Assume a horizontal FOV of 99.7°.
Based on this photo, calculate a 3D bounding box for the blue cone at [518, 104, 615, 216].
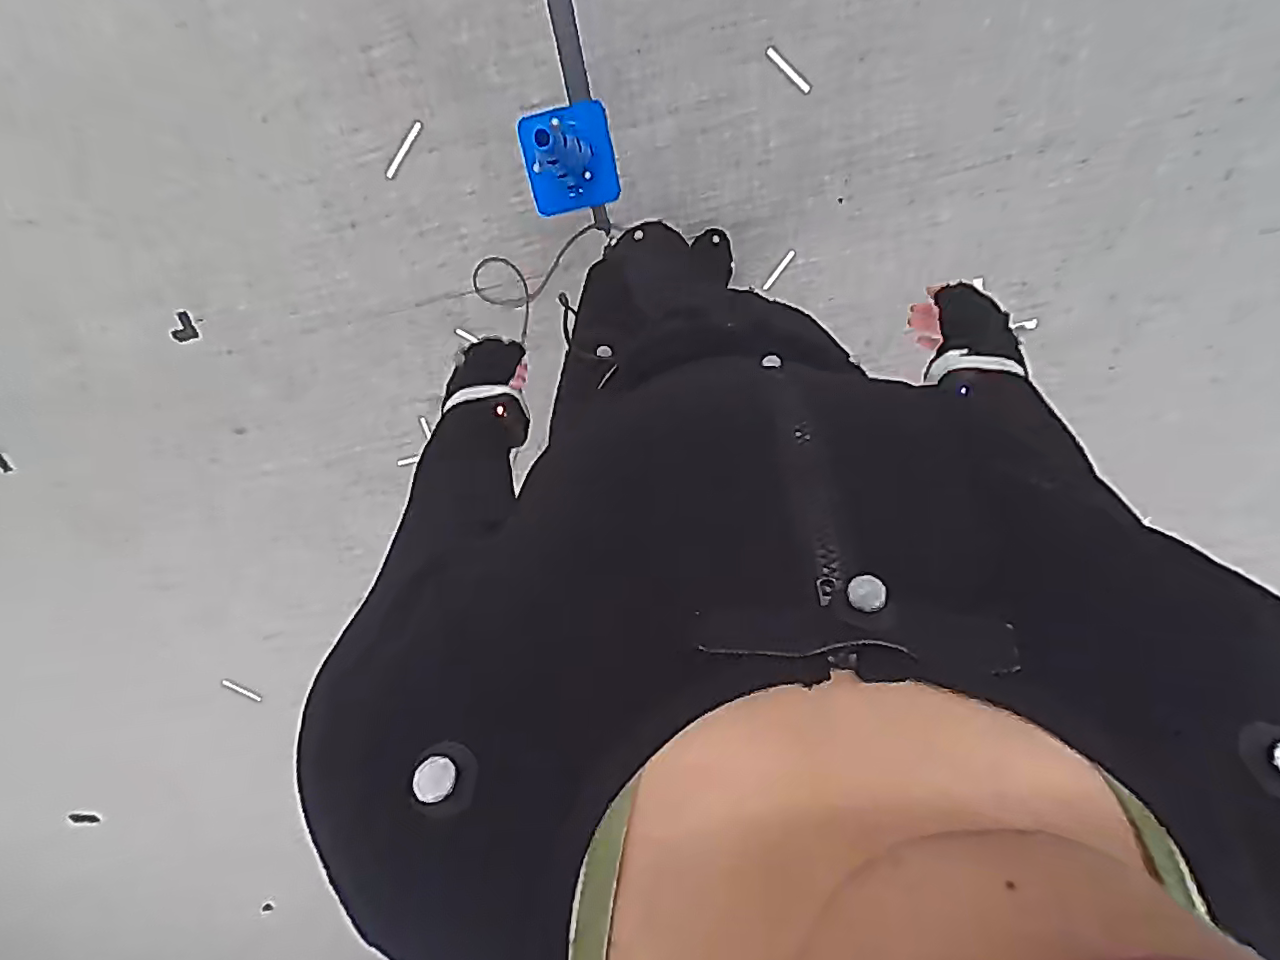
[{"bbox_3d":[-0.164,-0.630,1.050,0.193,0.380,0.192,-11,114,7],"label":"blue cone"}]
